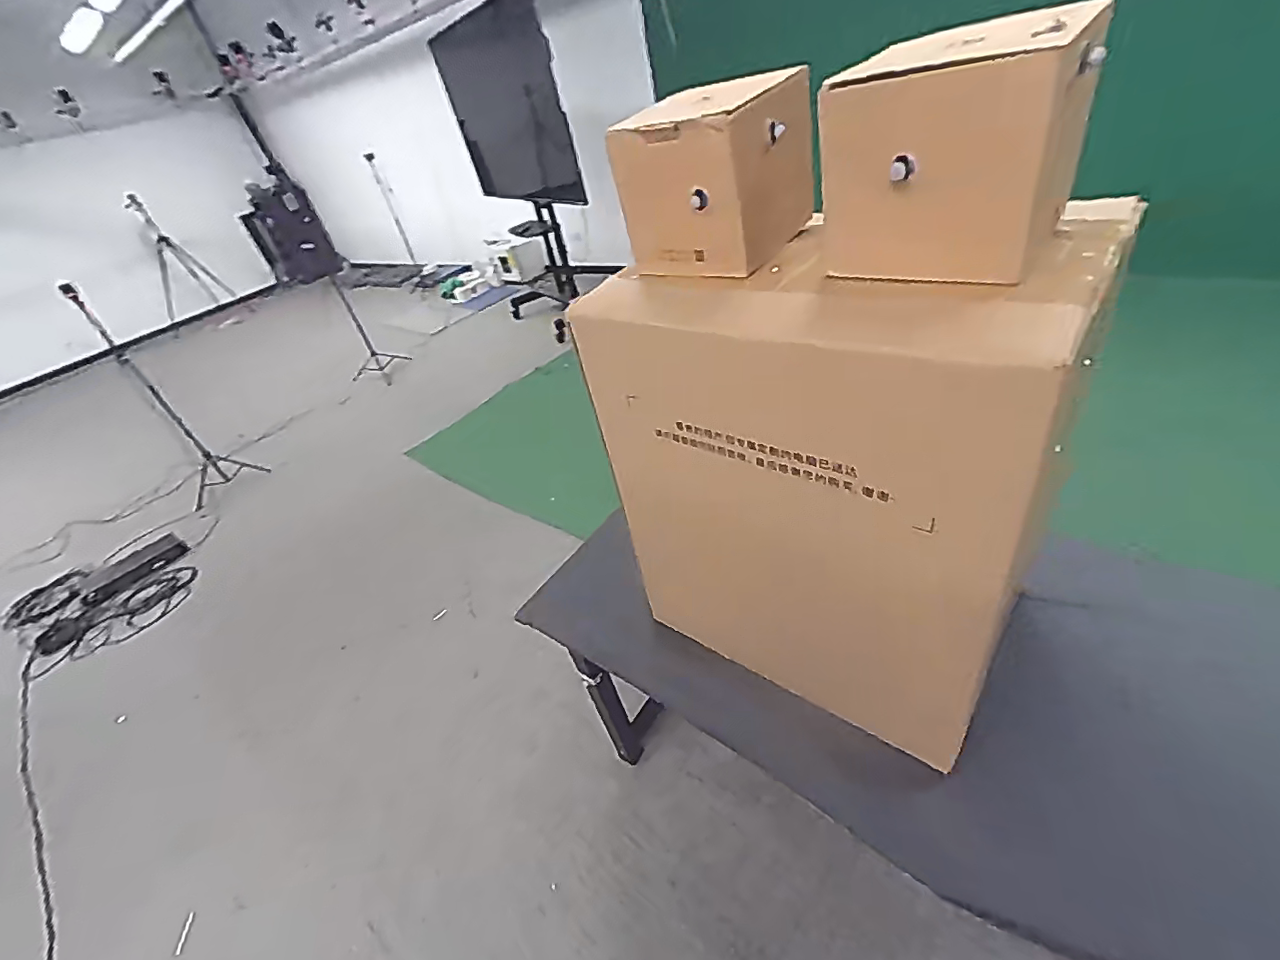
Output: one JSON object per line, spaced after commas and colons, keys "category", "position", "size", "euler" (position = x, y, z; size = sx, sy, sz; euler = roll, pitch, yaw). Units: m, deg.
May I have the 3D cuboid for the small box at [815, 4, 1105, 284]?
{"category": "small box", "position": [0.284, -0.296, 0.501], "size": [0.179, 0.176, 0.168], "euler": [19, 53, 38]}

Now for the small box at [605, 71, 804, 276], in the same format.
{"category": "small box", "position": [0.090, -0.362, 0.655], "size": [0.168, 0.176, 0.179], "euler": [20, 51, 35]}
